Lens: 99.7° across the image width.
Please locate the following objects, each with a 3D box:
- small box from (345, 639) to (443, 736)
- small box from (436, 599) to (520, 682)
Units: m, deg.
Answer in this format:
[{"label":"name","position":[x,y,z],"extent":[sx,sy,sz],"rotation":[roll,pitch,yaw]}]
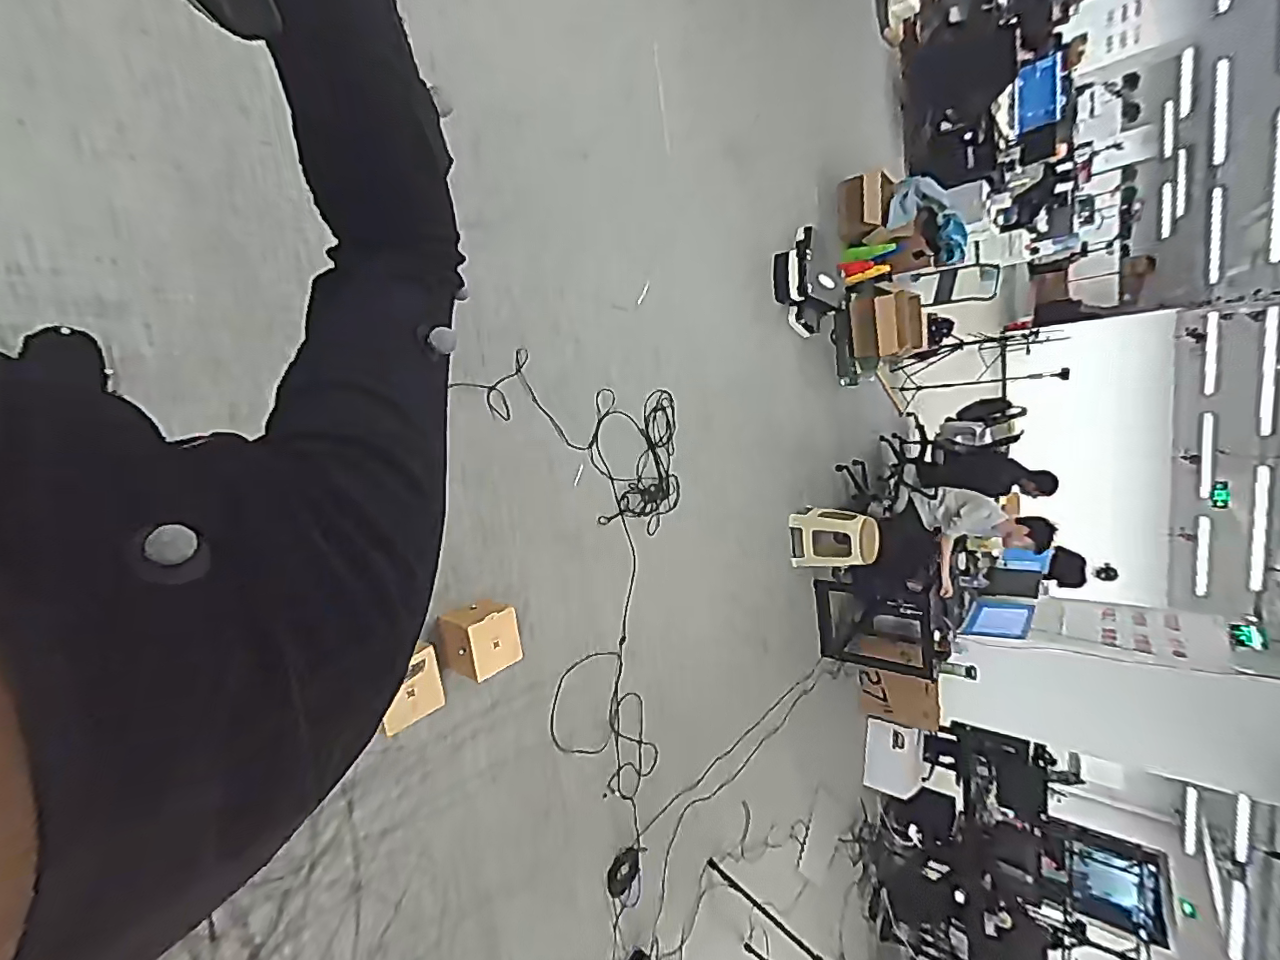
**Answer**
[{"label":"small box","position":[-0.655,0.537,1.433],"extent":[0.168,0.176,0.179],"rotation":[-19,106,-49]},{"label":"small box","position":[-0.489,0.476,1.633],"extent":[0.168,0.176,0.179],"rotation":[-18,104,-48]}]
